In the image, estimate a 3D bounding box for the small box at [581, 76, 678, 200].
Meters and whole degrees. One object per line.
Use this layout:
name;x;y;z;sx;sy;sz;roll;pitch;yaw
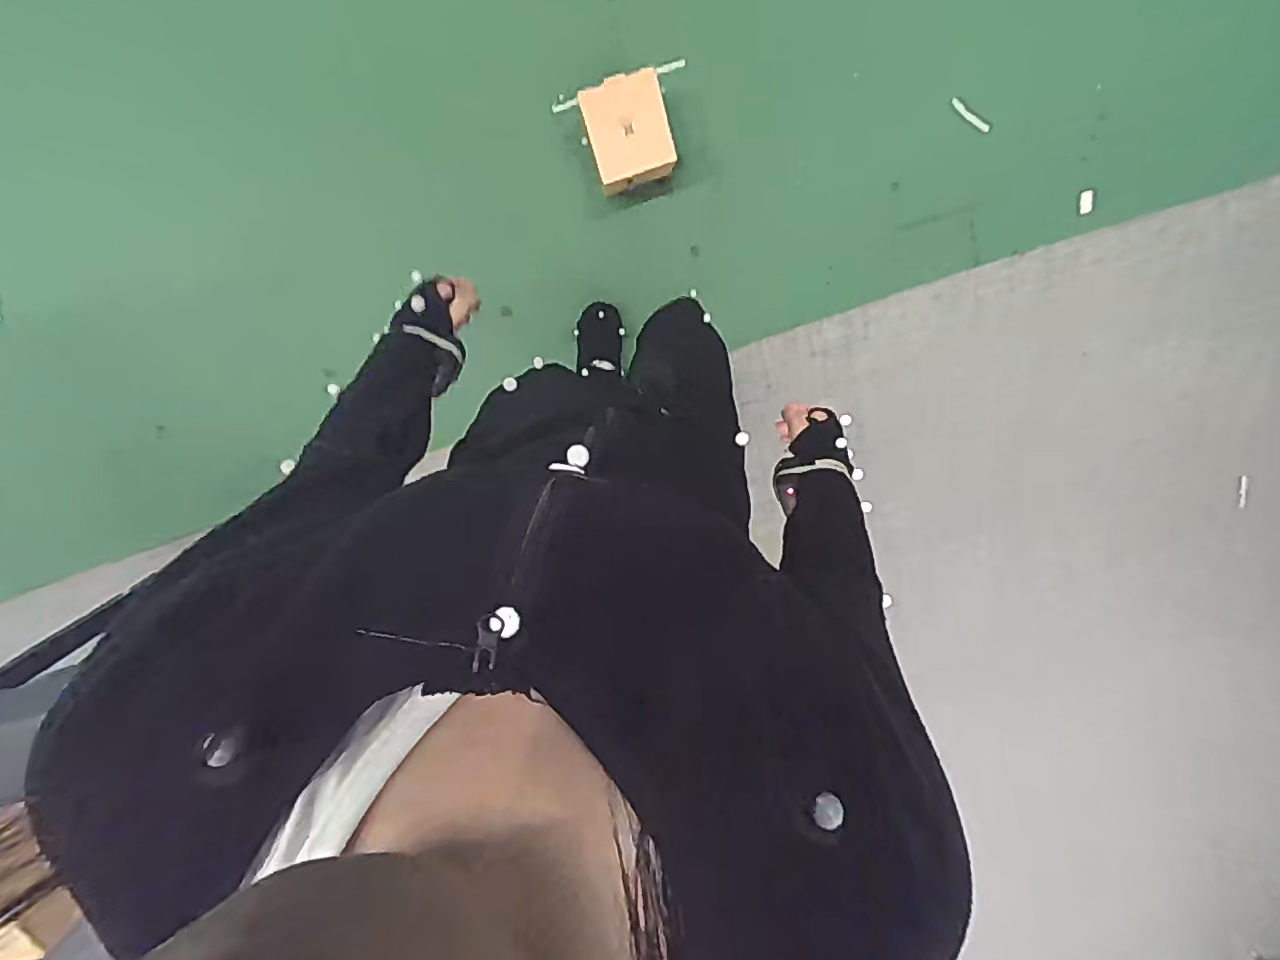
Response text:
small box;-0.018;-0.739;1.195;0.168;0.176;0.179;-17;107;5

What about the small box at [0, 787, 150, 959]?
small box;-0.988;0.648;0.890;0.179;0.176;0.168;-18;110;6
